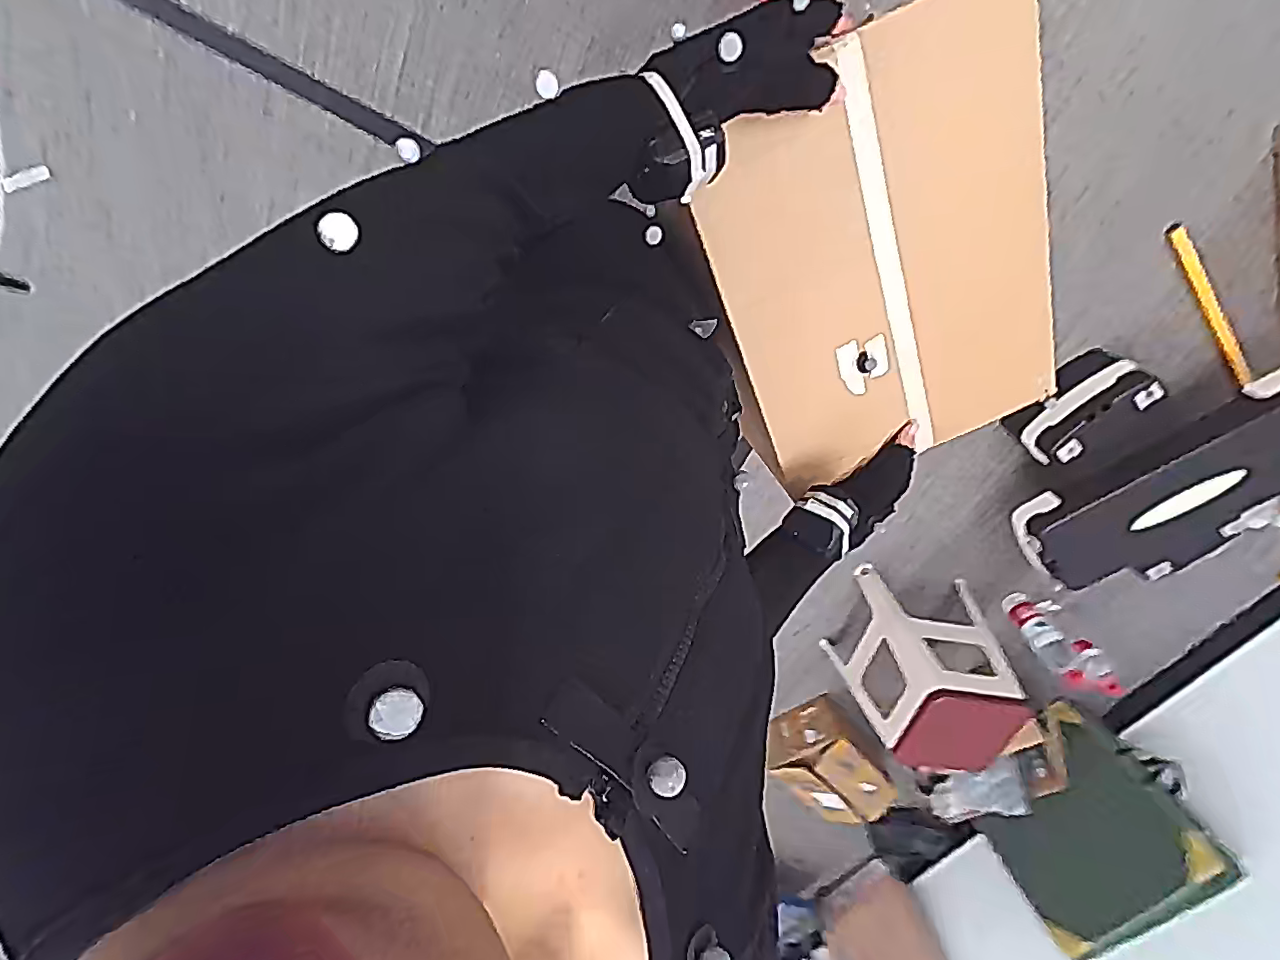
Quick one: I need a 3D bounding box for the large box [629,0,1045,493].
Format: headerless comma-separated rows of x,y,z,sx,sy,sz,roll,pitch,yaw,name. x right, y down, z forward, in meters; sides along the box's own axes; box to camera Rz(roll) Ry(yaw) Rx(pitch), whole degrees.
0.219,-0.269,0.659,0.320,0.320,0.408,-24,119,5,large box

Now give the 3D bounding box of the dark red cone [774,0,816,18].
0.279,-0.915,0.837,0.202,0.394,0.201,28,117,-15,dark red cone
